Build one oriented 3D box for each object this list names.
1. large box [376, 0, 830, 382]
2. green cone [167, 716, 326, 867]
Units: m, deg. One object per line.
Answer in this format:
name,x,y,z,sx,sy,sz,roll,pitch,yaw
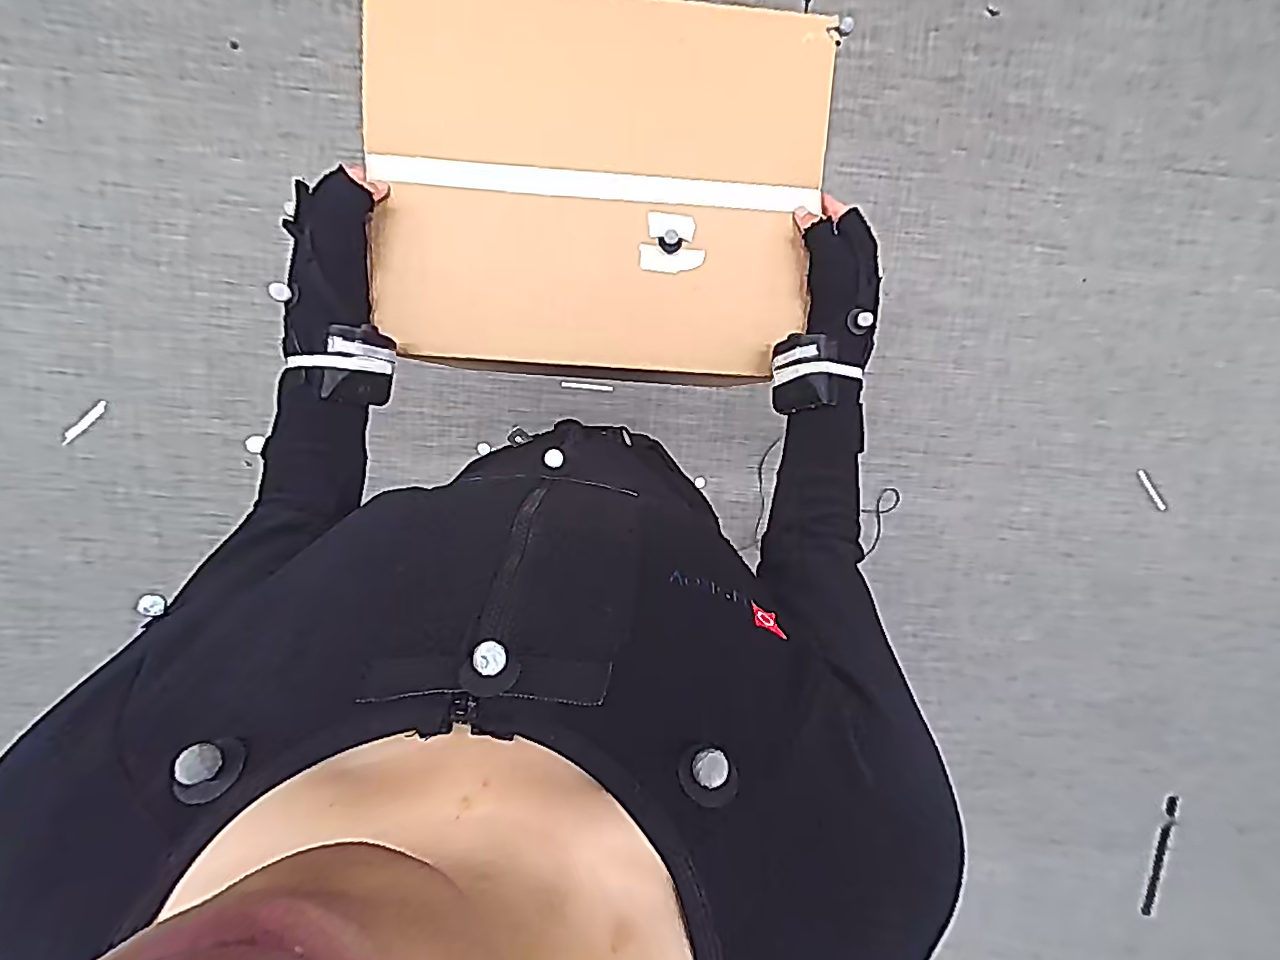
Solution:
large box,-0.045,-0.285,0.637,0.408,0.320,0.320,3,98,-4
green cone,-1.024,0.812,1.371,0.202,0.368,0.200,-33,96,4
